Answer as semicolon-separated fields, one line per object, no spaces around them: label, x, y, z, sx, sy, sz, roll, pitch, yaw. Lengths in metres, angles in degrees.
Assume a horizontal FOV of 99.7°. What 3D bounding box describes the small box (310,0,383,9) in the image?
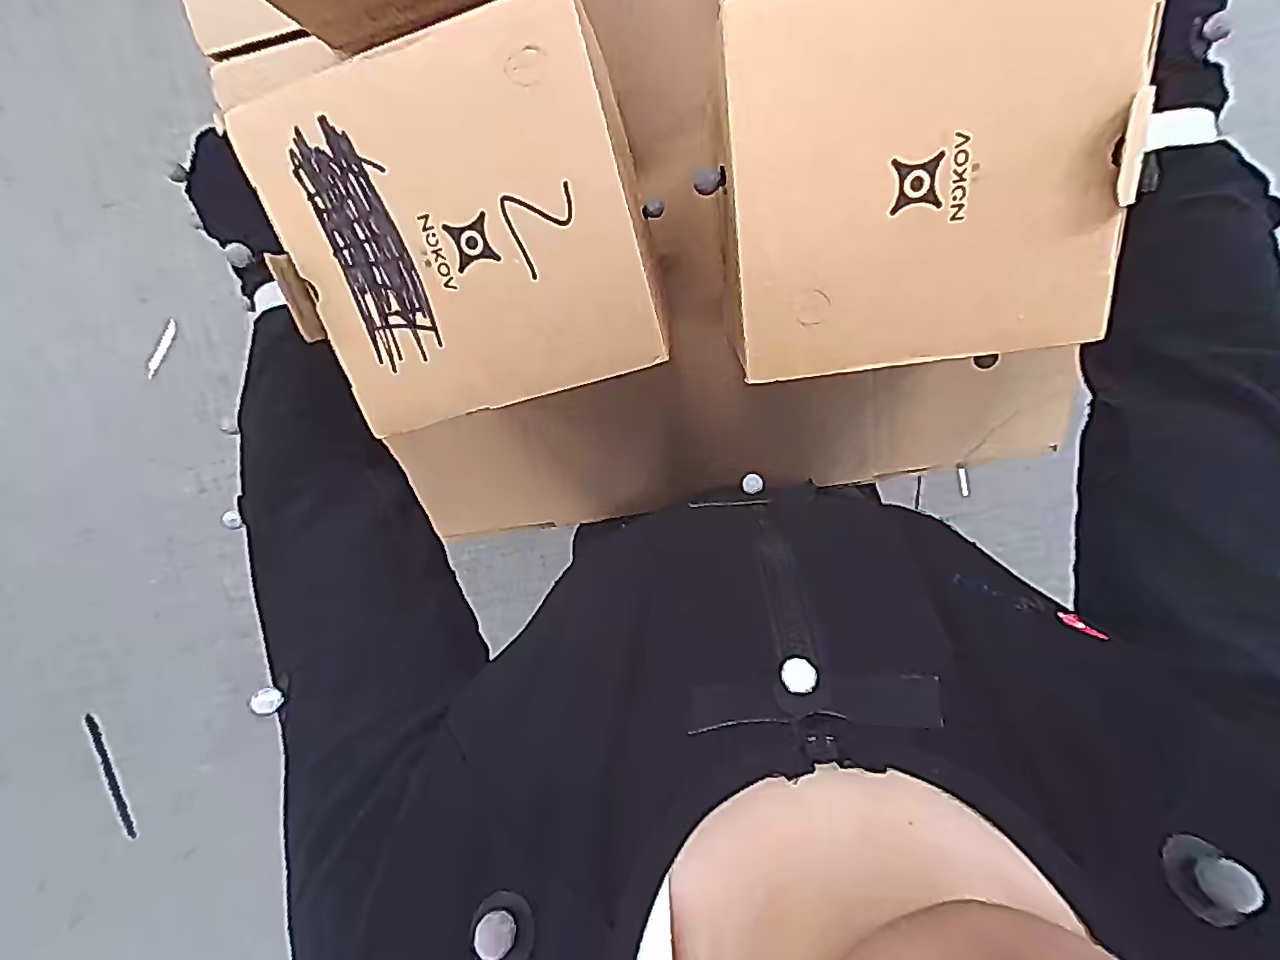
small box;-0.163;-0.376;0.262;0.168;0.176;0.179;-10;108;7
